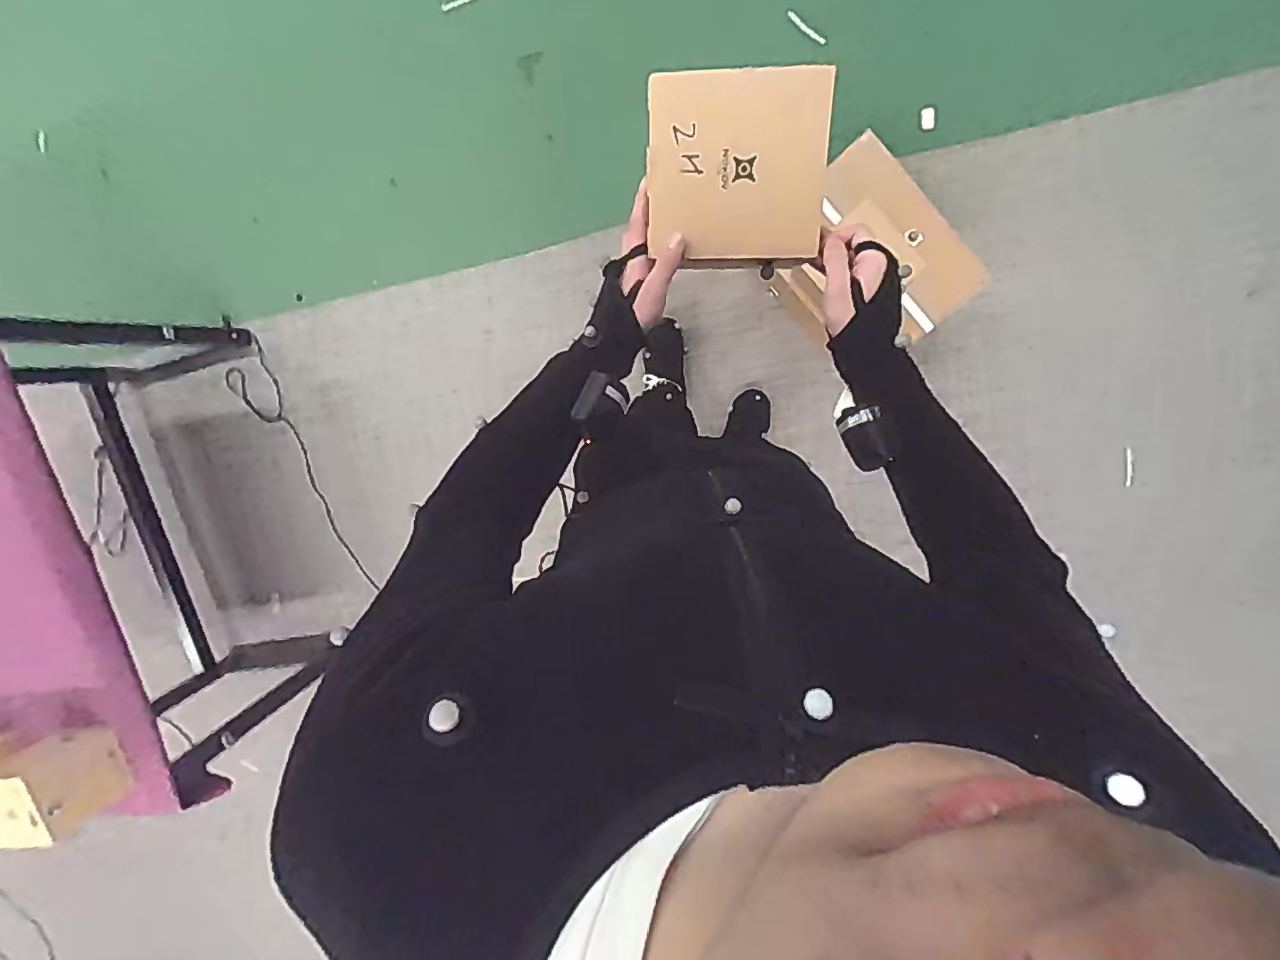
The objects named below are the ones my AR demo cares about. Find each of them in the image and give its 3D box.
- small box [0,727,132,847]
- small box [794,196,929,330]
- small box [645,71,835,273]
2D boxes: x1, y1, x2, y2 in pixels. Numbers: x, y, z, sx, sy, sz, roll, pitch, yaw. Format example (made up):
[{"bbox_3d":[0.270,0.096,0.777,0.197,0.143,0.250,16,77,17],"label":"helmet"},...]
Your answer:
[{"bbox_3d":[-1.308,0.679,1.208,0.179,0.176,0.168,-10,101,14],"label":"small box"},{"bbox_3d":[0.428,-0.419,1.076,0.168,0.176,0.179,-41,93,16],"label":"small box"},{"bbox_3d":[0.100,-0.323,0.598,0.179,0.176,0.168,2,108,7],"label":"small box"}]
